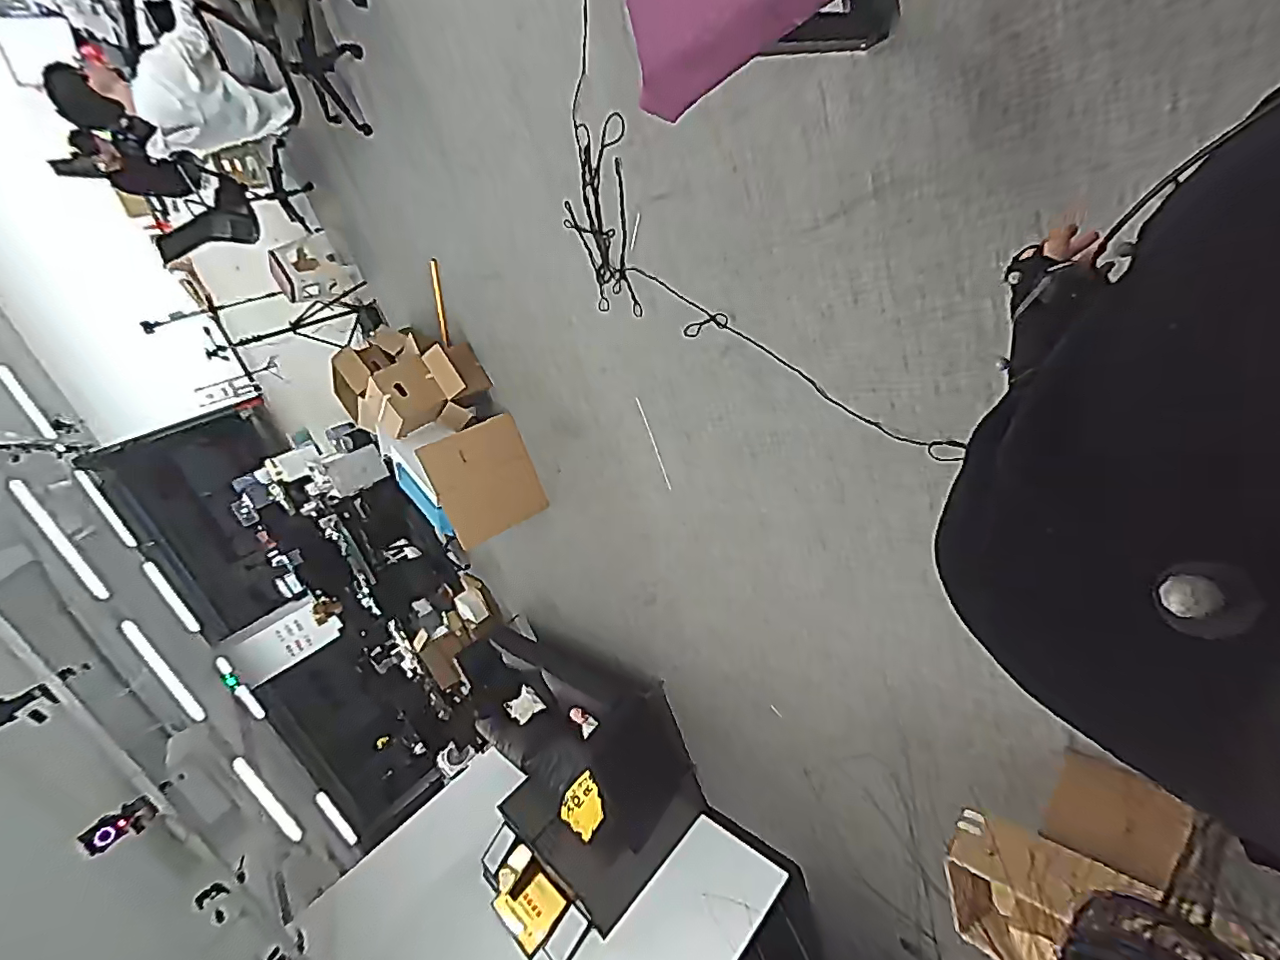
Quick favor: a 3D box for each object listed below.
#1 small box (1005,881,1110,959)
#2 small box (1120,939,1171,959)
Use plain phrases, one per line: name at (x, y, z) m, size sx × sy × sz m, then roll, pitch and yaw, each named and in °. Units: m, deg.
small box at (1.098, 1.214, 1.419) m, size 0.168 × 0.176 × 0.179 m, roll -12°, pitch 107°, yaw 53°
small box at (1.246, 1.261, 1.277) m, size 0.168 × 0.176 × 0.179 m, roll -1°, pitch 116°, yaw 50°
